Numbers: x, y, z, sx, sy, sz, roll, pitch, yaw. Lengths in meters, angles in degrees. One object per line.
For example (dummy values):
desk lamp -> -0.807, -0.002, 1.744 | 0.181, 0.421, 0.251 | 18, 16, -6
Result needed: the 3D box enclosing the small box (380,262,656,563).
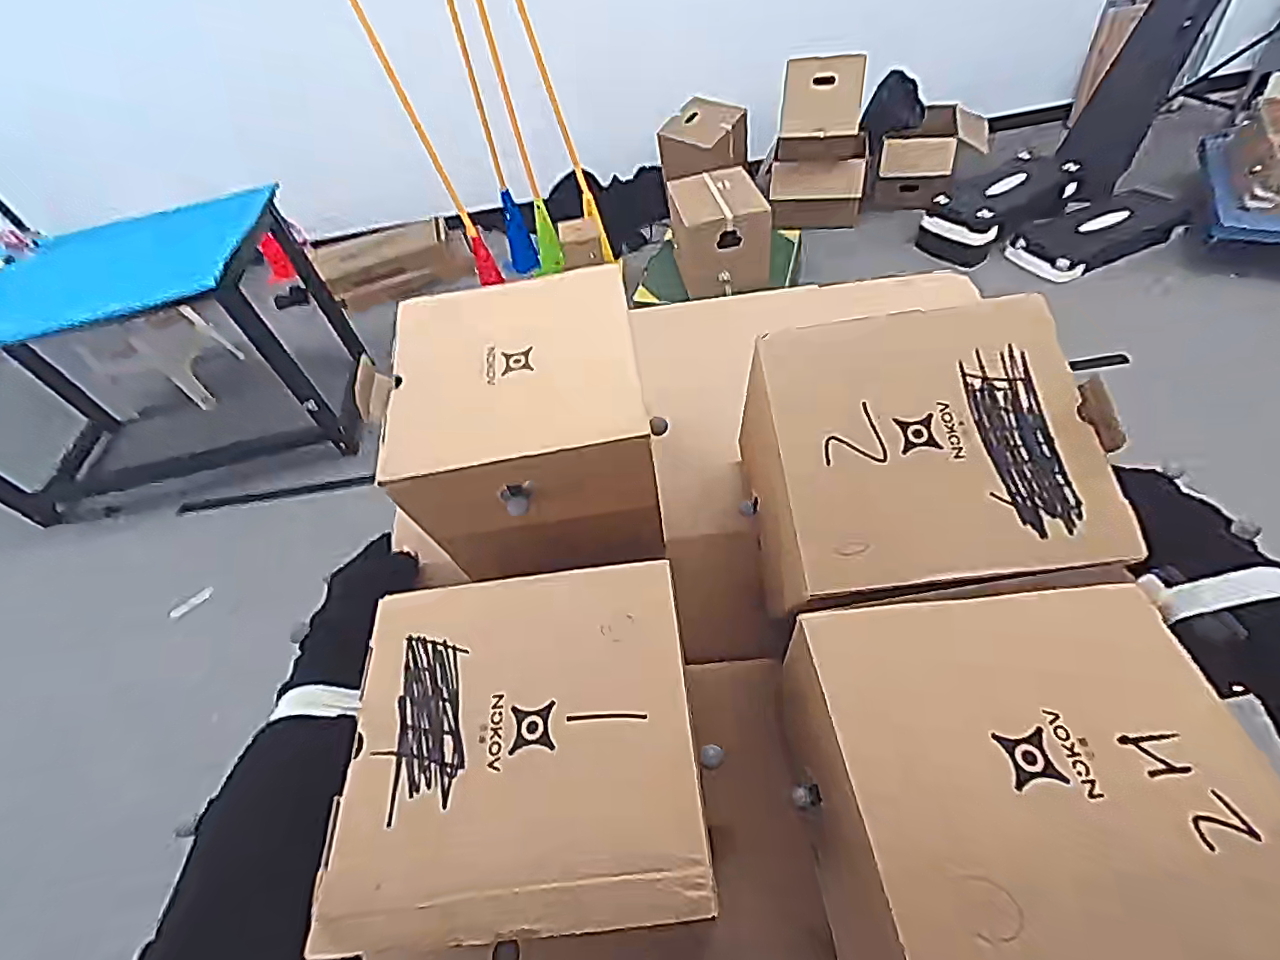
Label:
small box -> -0.084, -0.046, 0.452 | 0.179, 0.176, 0.168 | -11, 59, 2
